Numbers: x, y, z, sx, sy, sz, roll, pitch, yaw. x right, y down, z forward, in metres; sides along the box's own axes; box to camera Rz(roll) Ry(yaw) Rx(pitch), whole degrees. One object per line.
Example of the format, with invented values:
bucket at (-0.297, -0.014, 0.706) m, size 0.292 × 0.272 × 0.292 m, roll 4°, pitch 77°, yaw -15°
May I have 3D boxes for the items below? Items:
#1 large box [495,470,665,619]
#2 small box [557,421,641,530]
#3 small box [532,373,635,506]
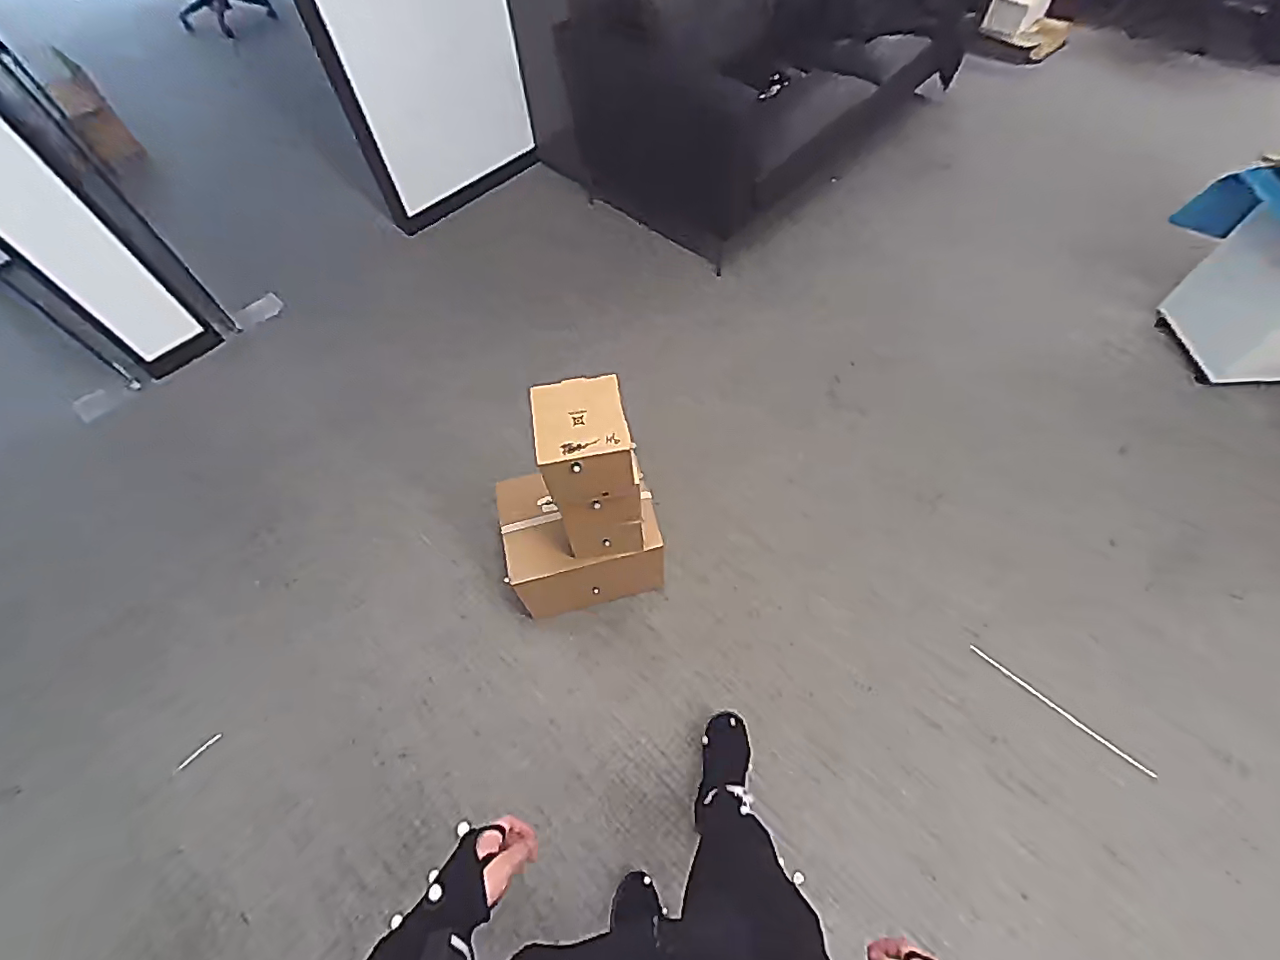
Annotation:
large box at (-0.163, 0.166, 1.558) m, size 0.408 × 0.320 × 0.320 m, roll -14°, pitch 59°, yaw -5°
small box at (-0.095, -0.007, 1.185) m, size 0.179 × 0.176 × 0.168 m, roll -11°, pitch 61°, yaw -3°
small box at (-0.106, -0.074, 1.034) m, size 0.168 × 0.176 × 0.179 m, roll -10°, pitch 60°, yaw -2°
